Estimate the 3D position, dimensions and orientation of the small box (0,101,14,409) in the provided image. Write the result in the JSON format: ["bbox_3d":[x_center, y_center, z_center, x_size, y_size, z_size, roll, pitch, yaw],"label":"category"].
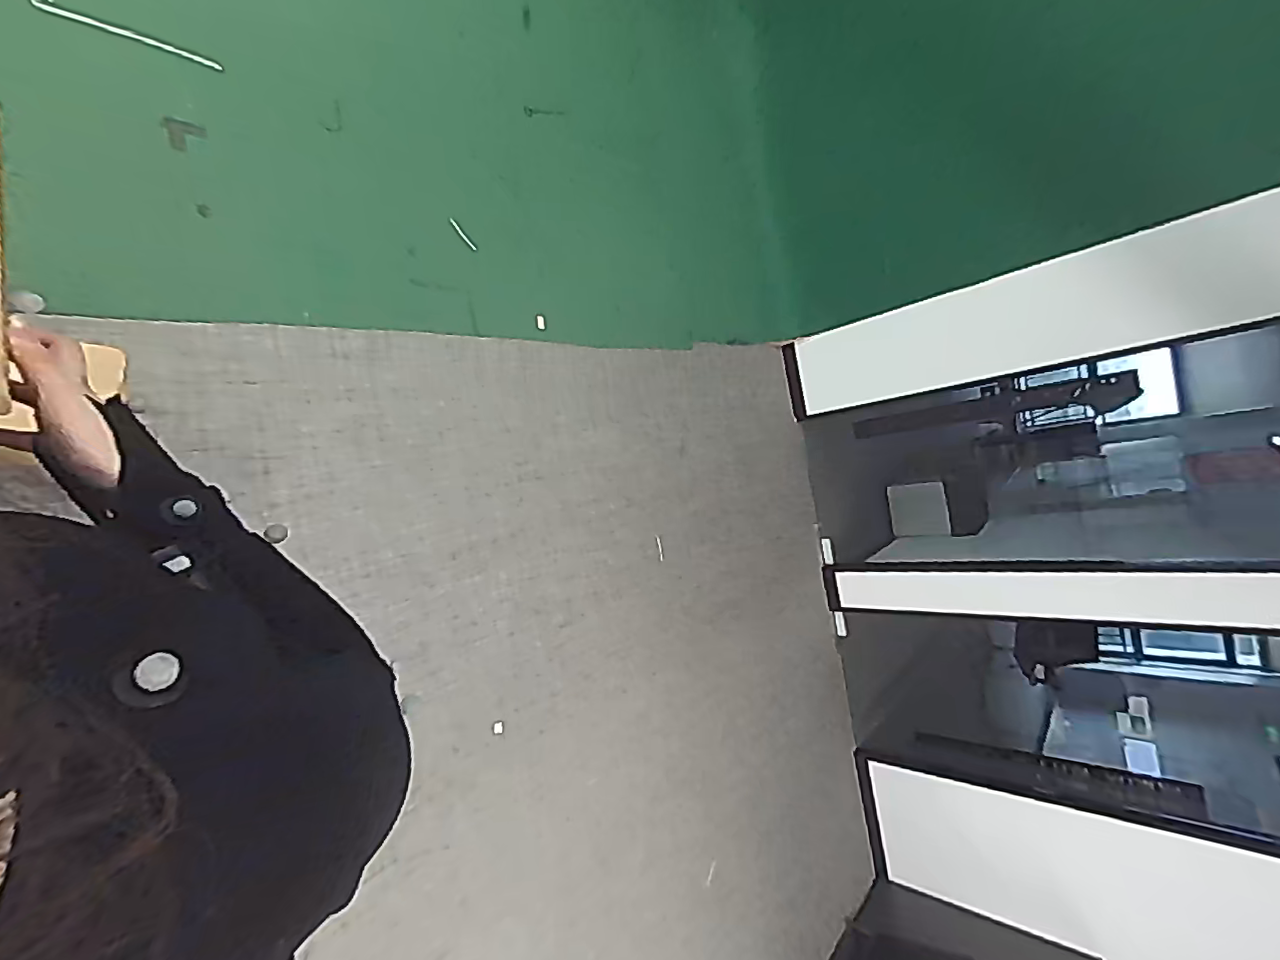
[{"bbox_3d":[-0.445,-0.121,0.266,0.179,0.176,0.168,-1,98,-50],"label":"small box"}]

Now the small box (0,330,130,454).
[{"bbox_3d":[-0.977,-0.137,0.897,0.179,0.176,0.168,5,83,-46],"label":"small box"}]
